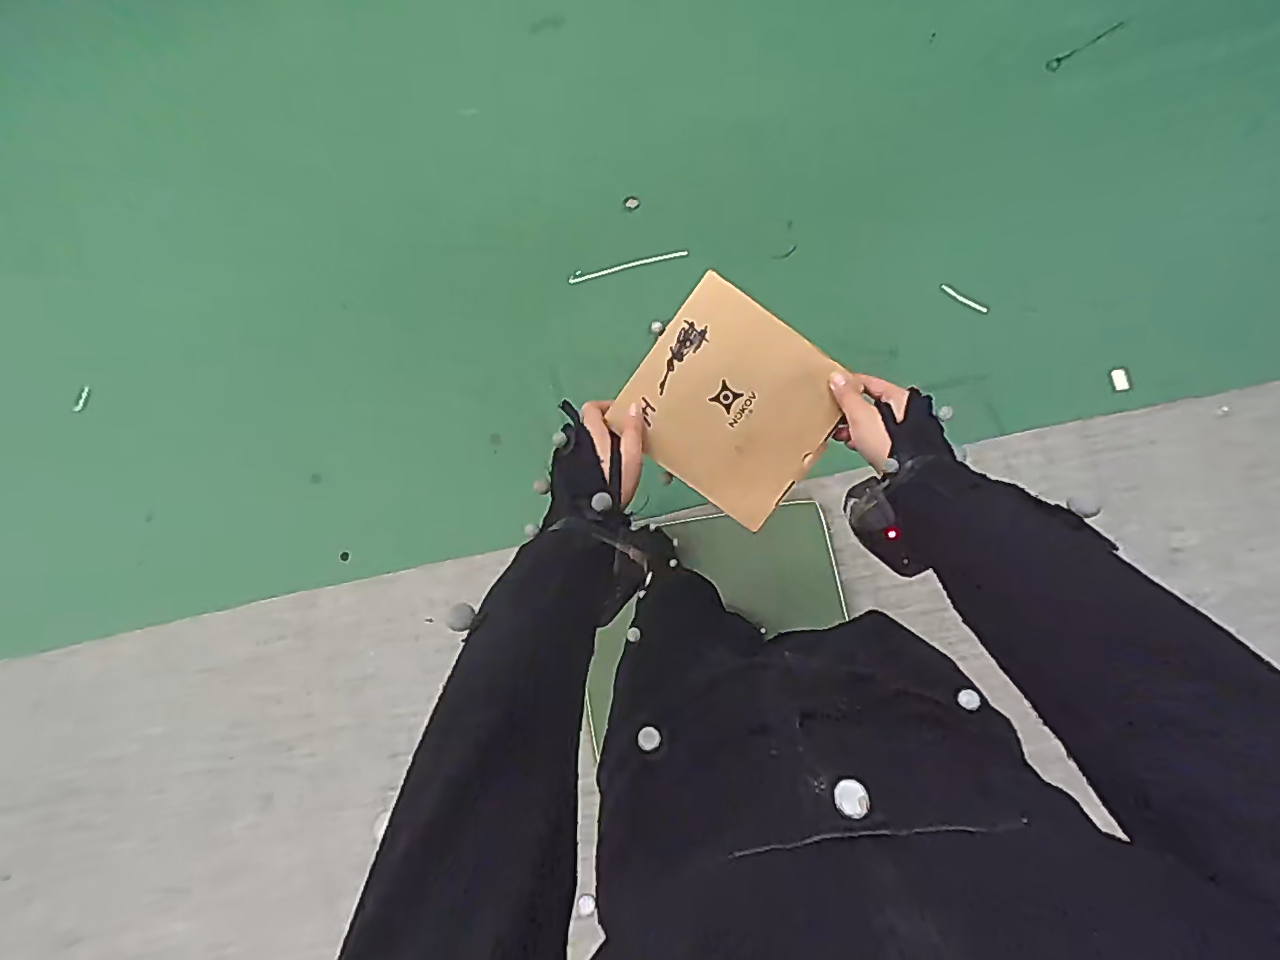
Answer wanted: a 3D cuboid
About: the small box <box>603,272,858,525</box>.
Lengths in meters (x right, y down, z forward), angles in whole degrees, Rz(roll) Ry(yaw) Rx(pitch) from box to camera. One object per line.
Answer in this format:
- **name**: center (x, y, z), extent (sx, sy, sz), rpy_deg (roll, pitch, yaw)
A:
- **small box**: center (0.082, -0.079, 0.567), extent (0.179, 0.176, 0.168), rpy_deg (36, 93, -3)
